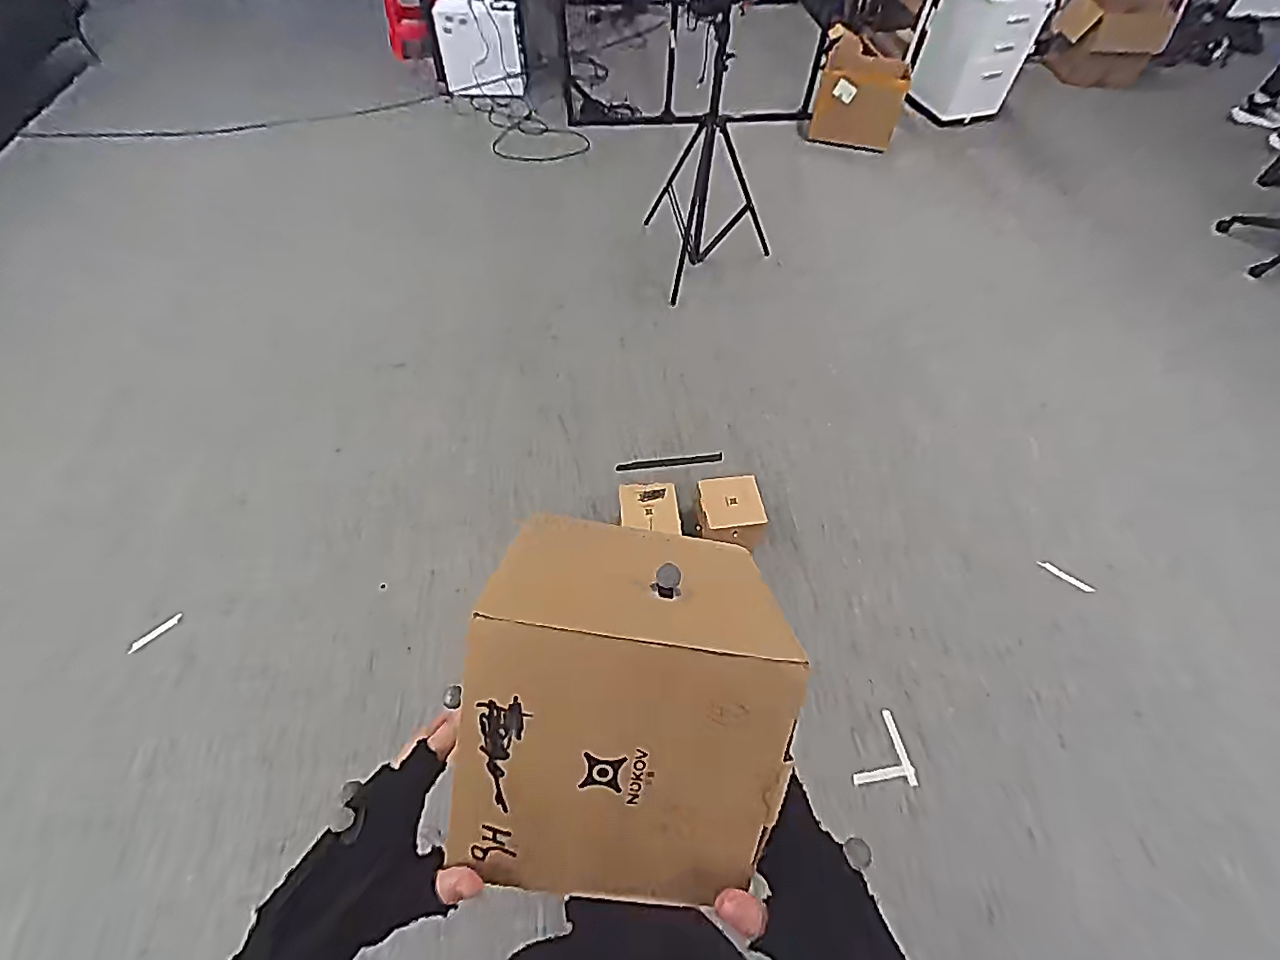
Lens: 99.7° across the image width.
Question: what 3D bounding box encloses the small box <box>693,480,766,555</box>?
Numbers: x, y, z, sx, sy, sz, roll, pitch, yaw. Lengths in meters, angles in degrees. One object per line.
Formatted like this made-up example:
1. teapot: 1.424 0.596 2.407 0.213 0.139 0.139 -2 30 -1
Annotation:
1. small box: 0.260 0.120 1.627 0.179 0.176 0.168 -6 58 -7

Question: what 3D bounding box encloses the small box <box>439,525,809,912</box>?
1. small box: -0.015 0.140 0.366 0.179 0.168 0.176 10 13 -5

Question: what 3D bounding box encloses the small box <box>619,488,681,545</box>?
1. small box: 0.024 0.144 1.601 0.168 0.176 0.179 -4 57 -4
